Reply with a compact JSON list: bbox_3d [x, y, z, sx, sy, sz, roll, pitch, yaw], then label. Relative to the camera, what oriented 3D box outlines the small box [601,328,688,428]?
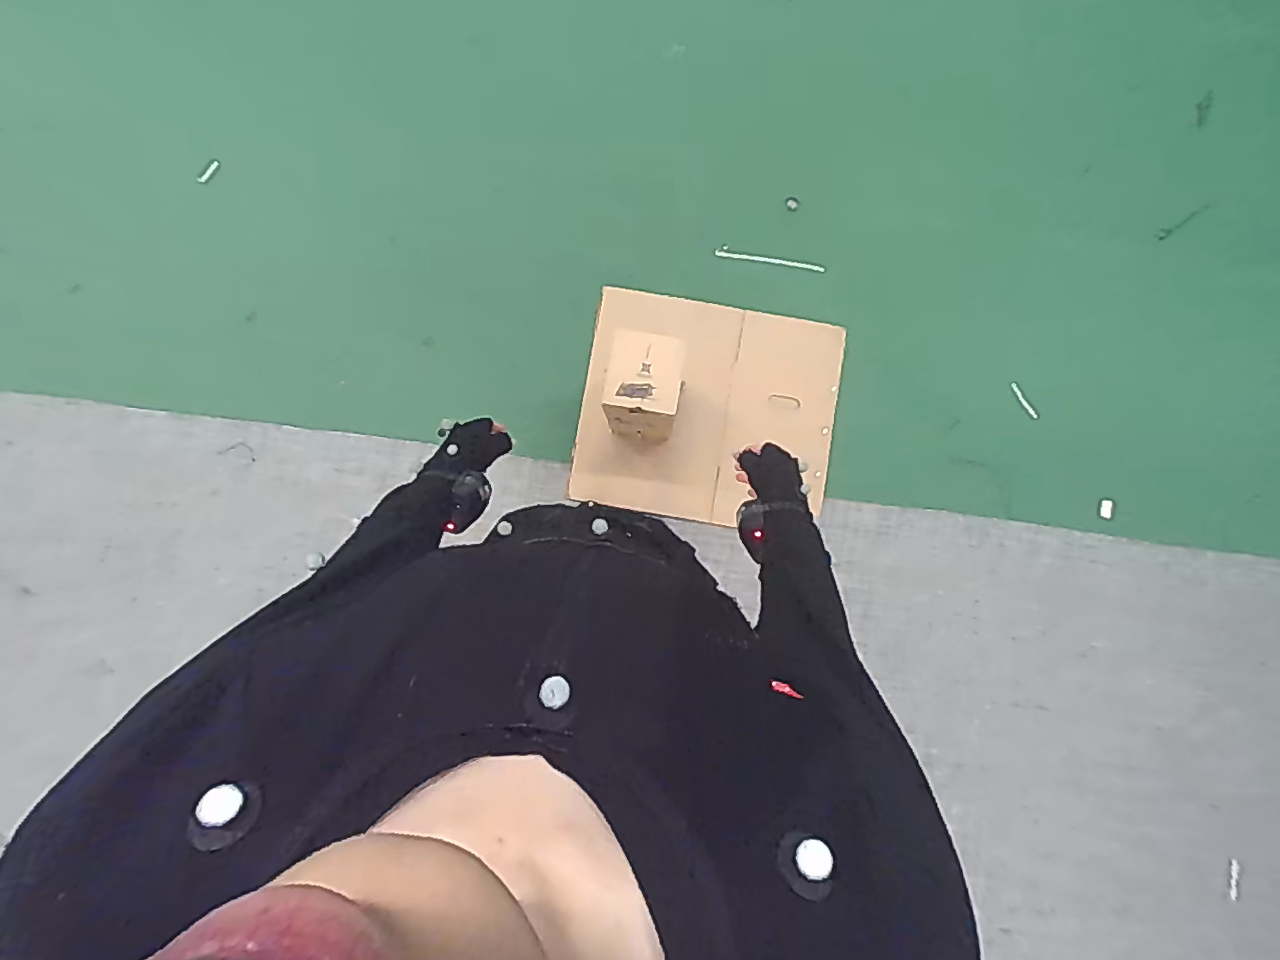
[{"bbox_3d":[0.012,-0.226,1.245,0.168,0.176,0.179,10,85,1],"label":"small box"}]

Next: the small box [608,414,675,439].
[{"bbox_3d":[0.013,-0.214,1.408,0.168,0.176,0.179,8,86,1],"label":"small box"}]
